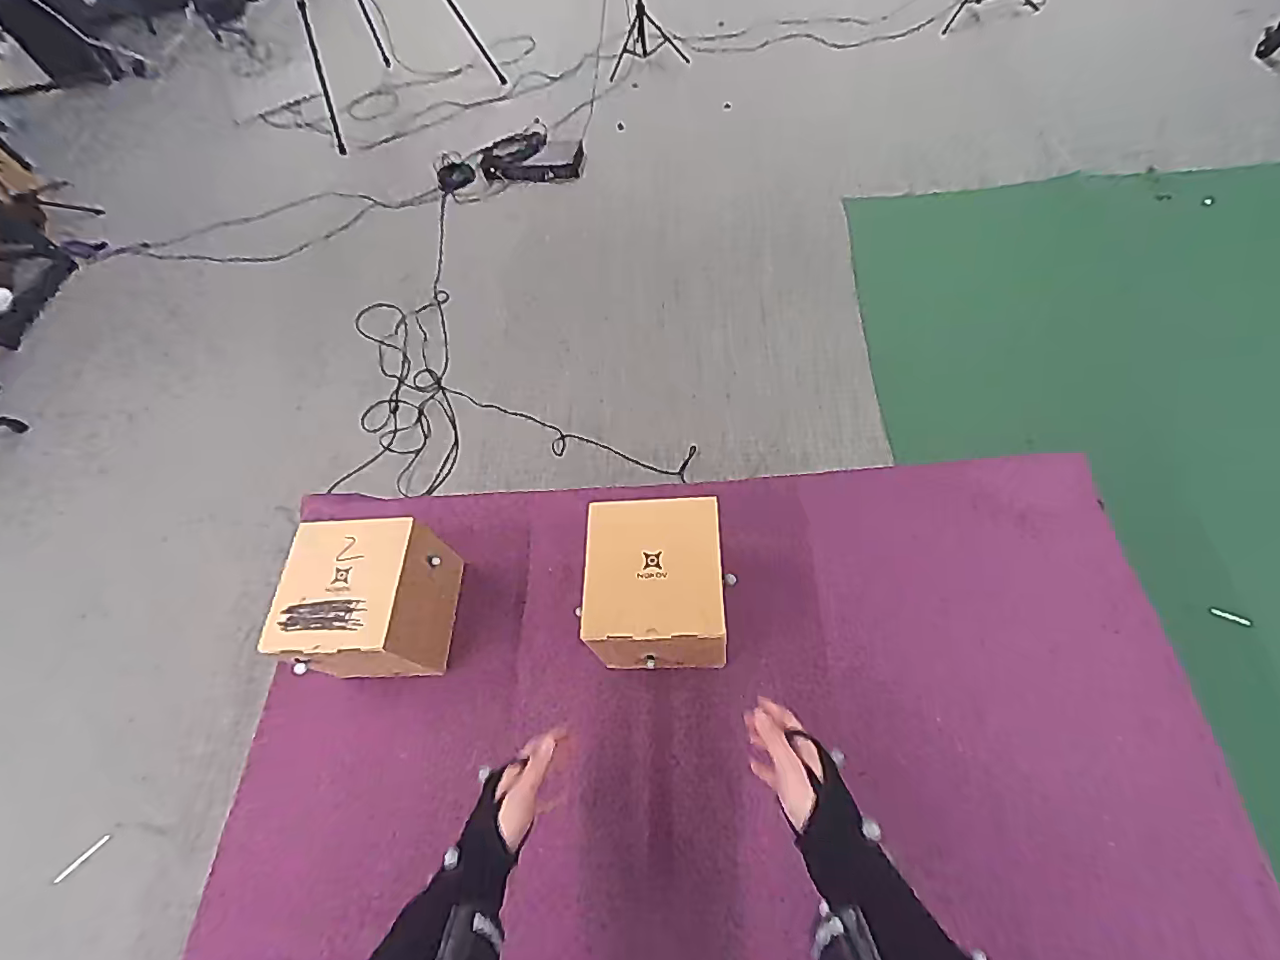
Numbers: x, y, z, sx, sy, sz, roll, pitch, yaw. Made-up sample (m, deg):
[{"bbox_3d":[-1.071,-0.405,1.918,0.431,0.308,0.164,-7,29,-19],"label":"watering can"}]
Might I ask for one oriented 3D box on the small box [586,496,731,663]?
[{"bbox_3d":[0.029,0.137,0.715,0.168,0.176,0.179,-3,62,6],"label":"small box"}]
